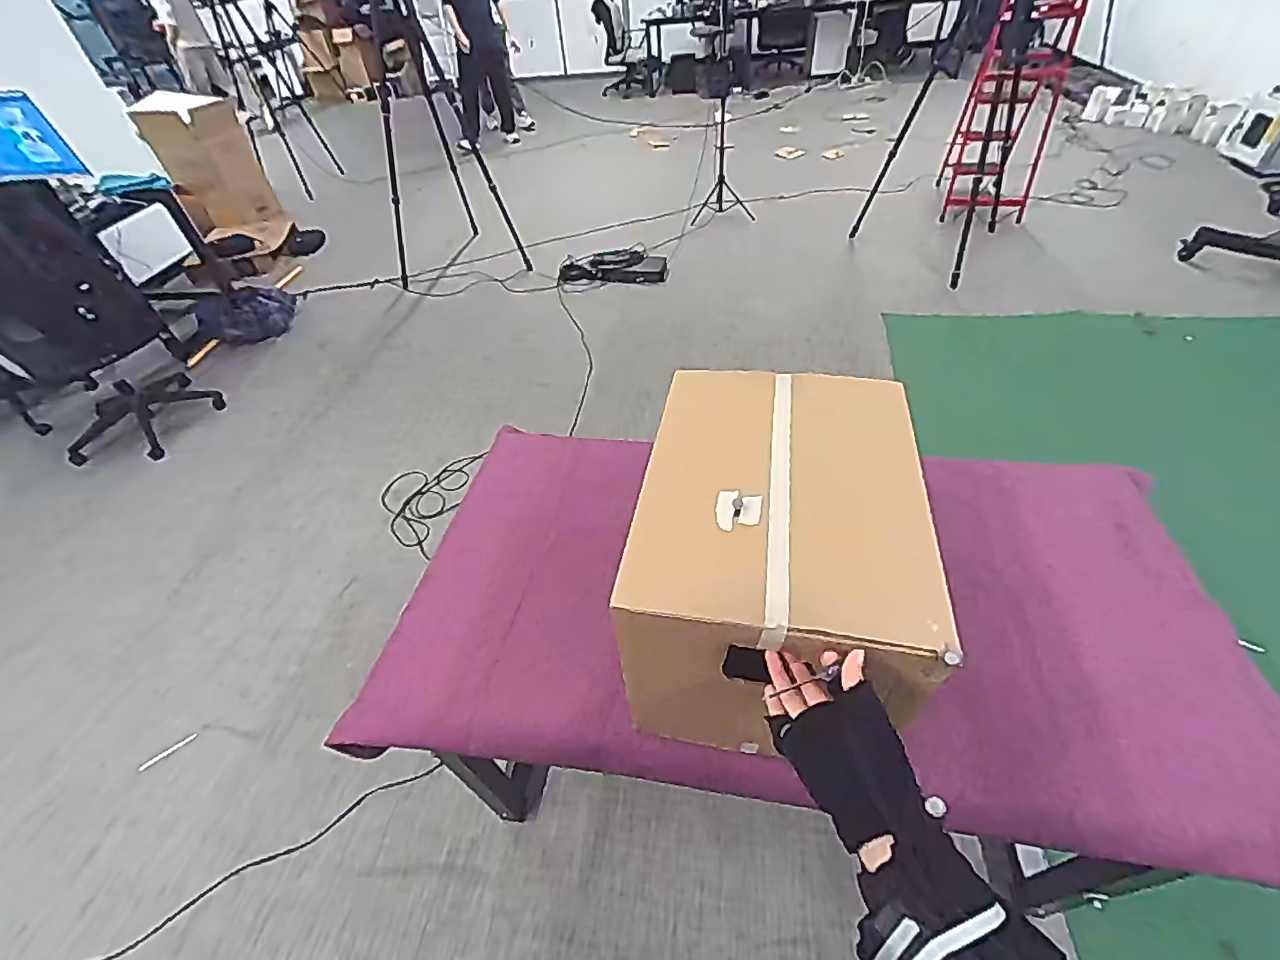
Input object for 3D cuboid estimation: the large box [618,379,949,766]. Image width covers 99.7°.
[{"bbox_3d":[0.171,0.110,0.745,0.320,0.320,0.408,6,47,11],"label":"large box"}]
